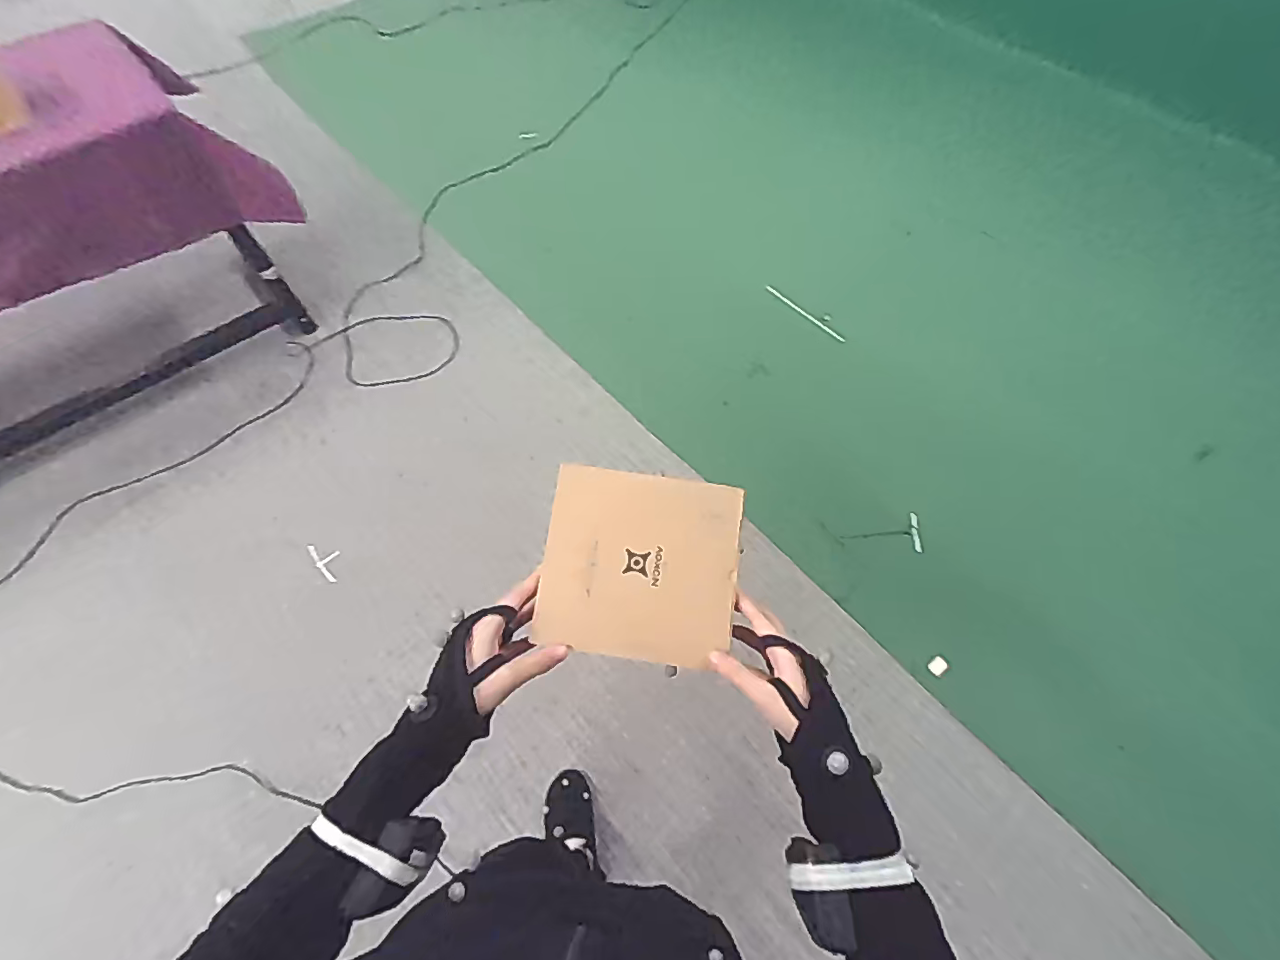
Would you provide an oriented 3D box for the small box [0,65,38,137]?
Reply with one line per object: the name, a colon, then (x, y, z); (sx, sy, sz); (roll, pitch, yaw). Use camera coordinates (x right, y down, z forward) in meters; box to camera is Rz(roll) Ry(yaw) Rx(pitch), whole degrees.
small box: (-1.516, -0.882, 1.204); (0.168, 0.176, 0.179); (-35, 67, -18)
